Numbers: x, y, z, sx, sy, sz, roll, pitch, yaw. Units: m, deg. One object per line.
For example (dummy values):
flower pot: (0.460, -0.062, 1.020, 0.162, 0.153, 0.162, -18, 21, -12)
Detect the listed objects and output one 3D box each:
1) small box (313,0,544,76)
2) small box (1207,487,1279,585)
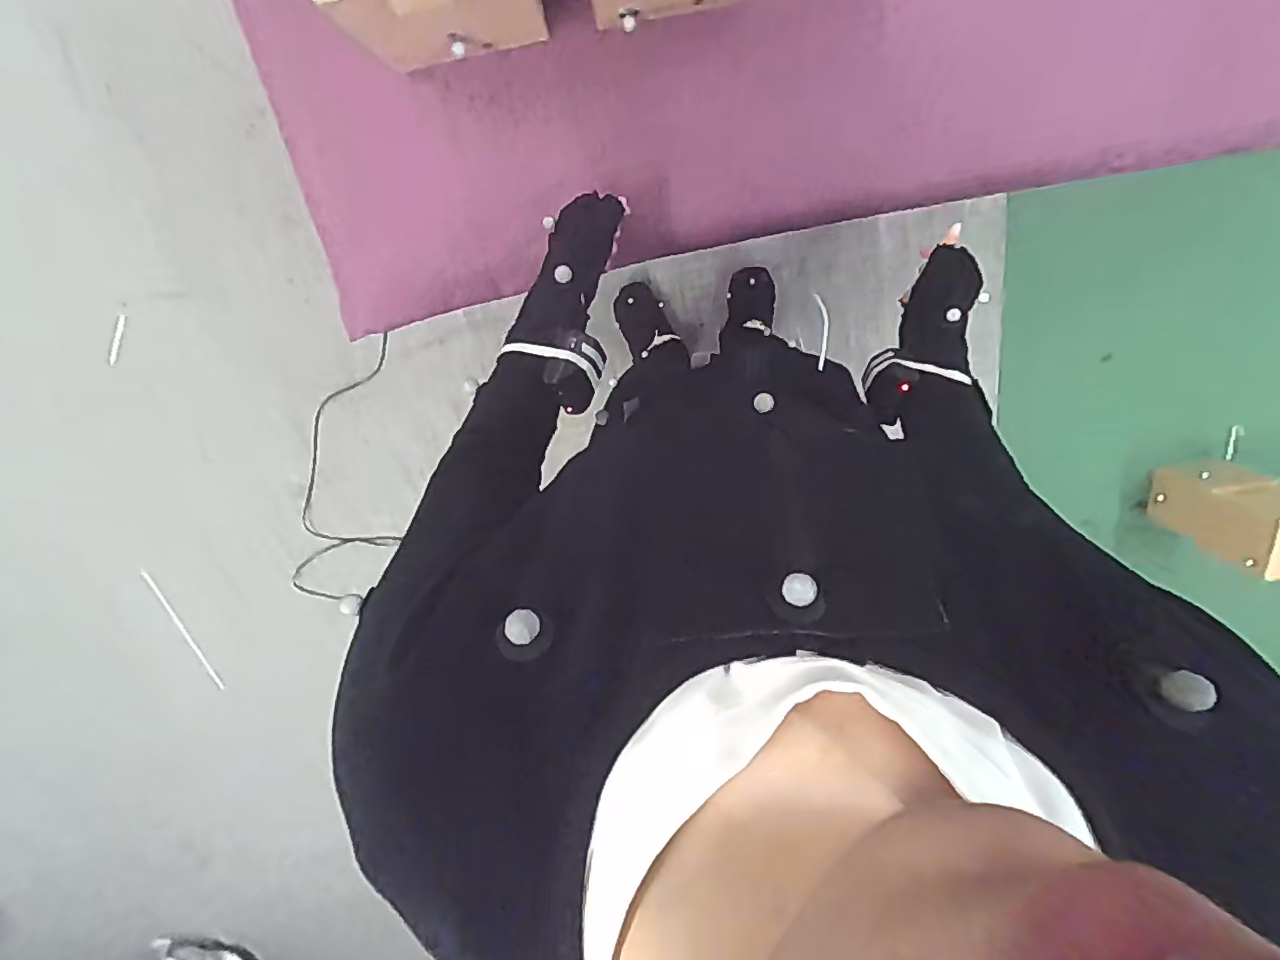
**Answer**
small box: (-0.190, -0.488, 0.462, 0.168, 0.176, 0.179, -10, 112, 3)
small box: (1.571, 0.130, 1.333, 0.168, 0.176, 0.179, -11, 112, 4)
